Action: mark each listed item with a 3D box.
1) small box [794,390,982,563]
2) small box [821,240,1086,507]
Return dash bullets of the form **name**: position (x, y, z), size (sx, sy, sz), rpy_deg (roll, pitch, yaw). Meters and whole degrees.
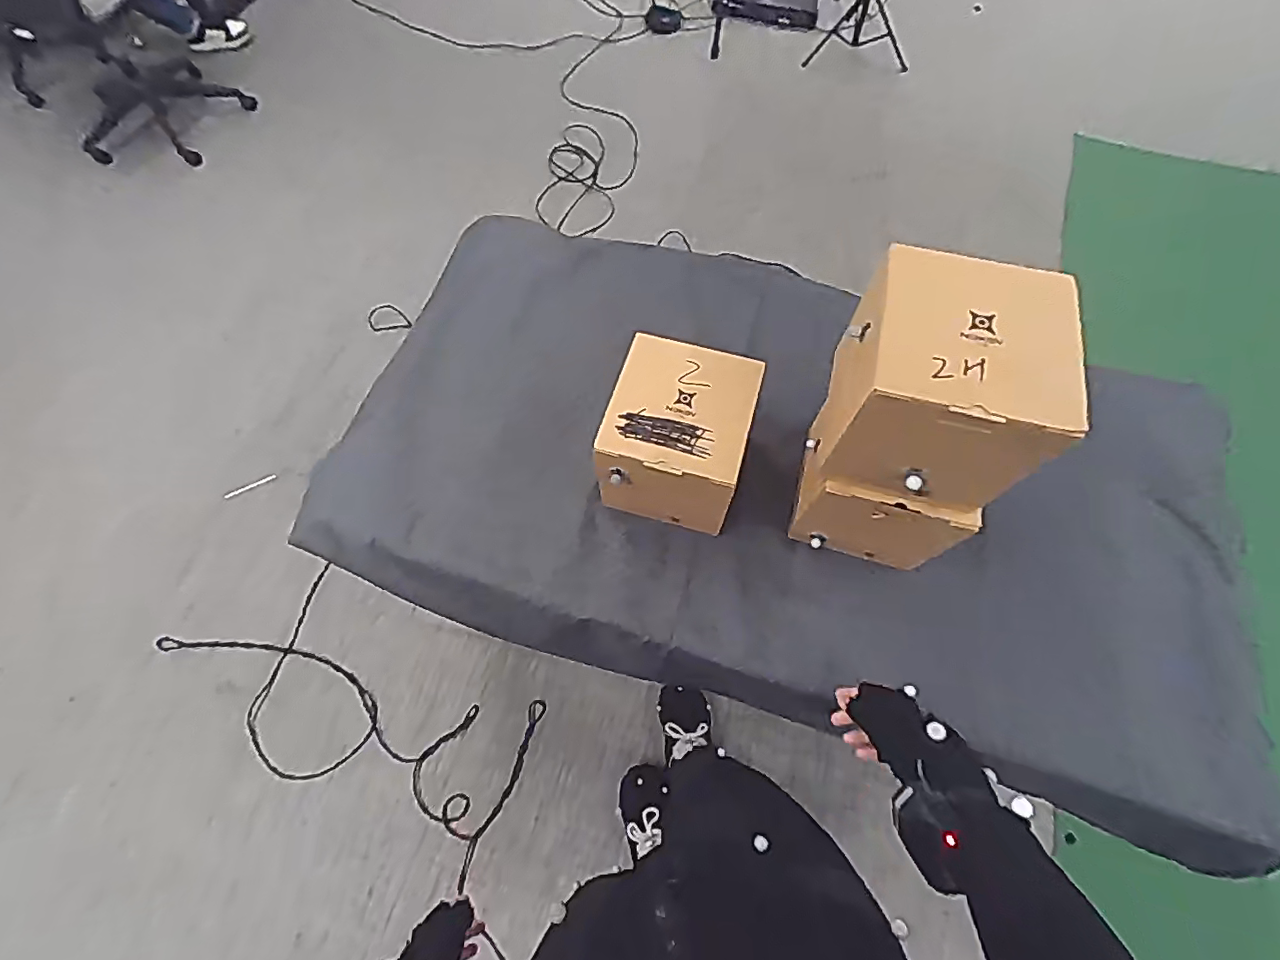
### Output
- **small box**: position (0.301, -0.013, 0.676), size (0.168, 0.176, 0.179), rpy_deg (15, 67, 8)
- **small box**: position (0.290, -0.096, 0.534), size (0.168, 0.176, 0.179), rpy_deg (14, 67, 8)
